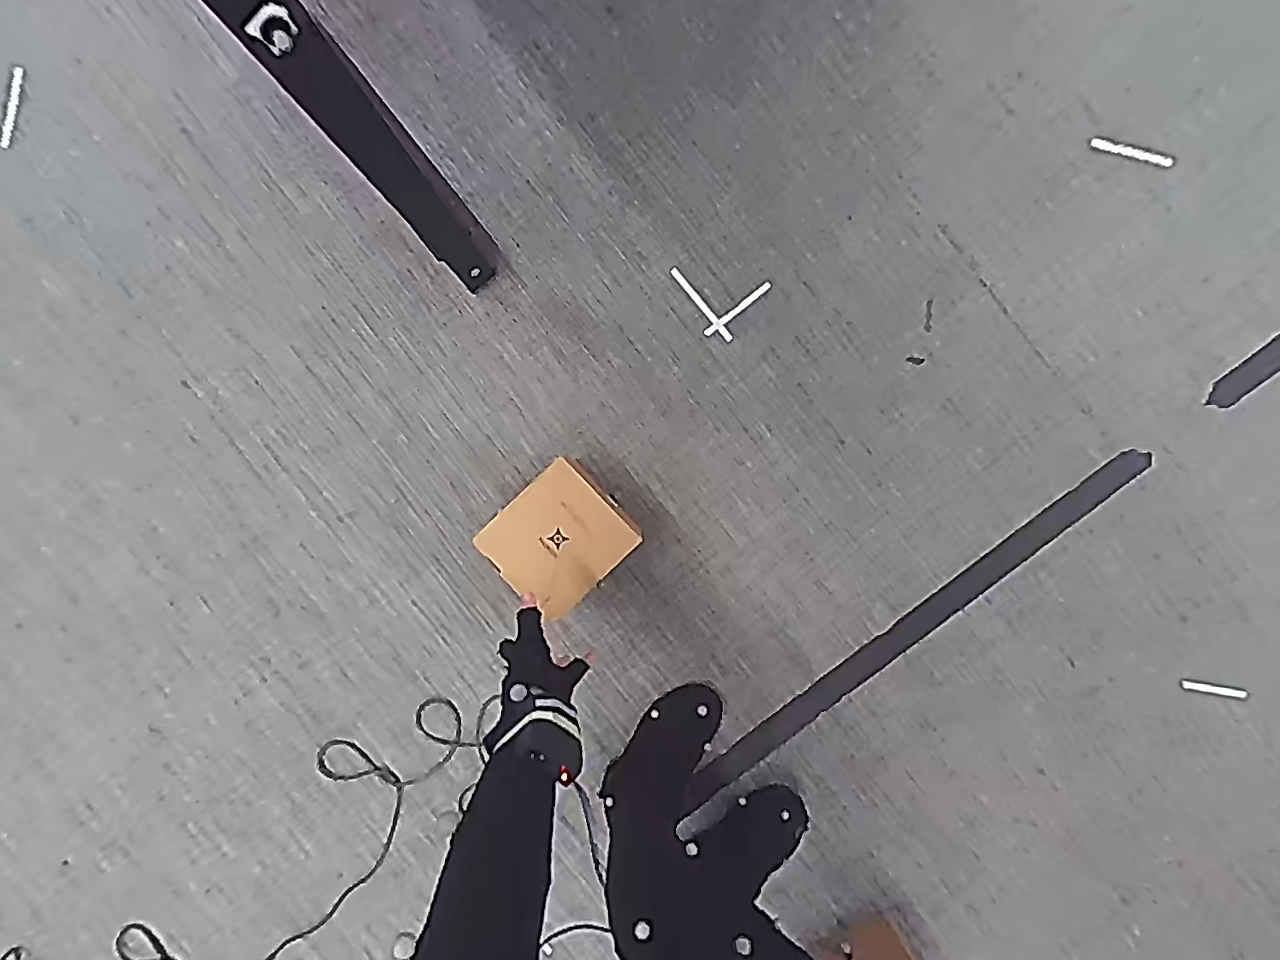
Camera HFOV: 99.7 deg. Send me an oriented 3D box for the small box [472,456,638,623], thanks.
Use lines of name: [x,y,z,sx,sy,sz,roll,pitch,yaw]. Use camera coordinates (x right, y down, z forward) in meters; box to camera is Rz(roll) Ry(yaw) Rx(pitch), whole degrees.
small box: [-0.116,0.083,0.825,0.179,0.176,0.168,-45,91,0]

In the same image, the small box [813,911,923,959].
small box: [0.382,0.826,0.825,0.179,0.176,0.168,-29,90,1]
